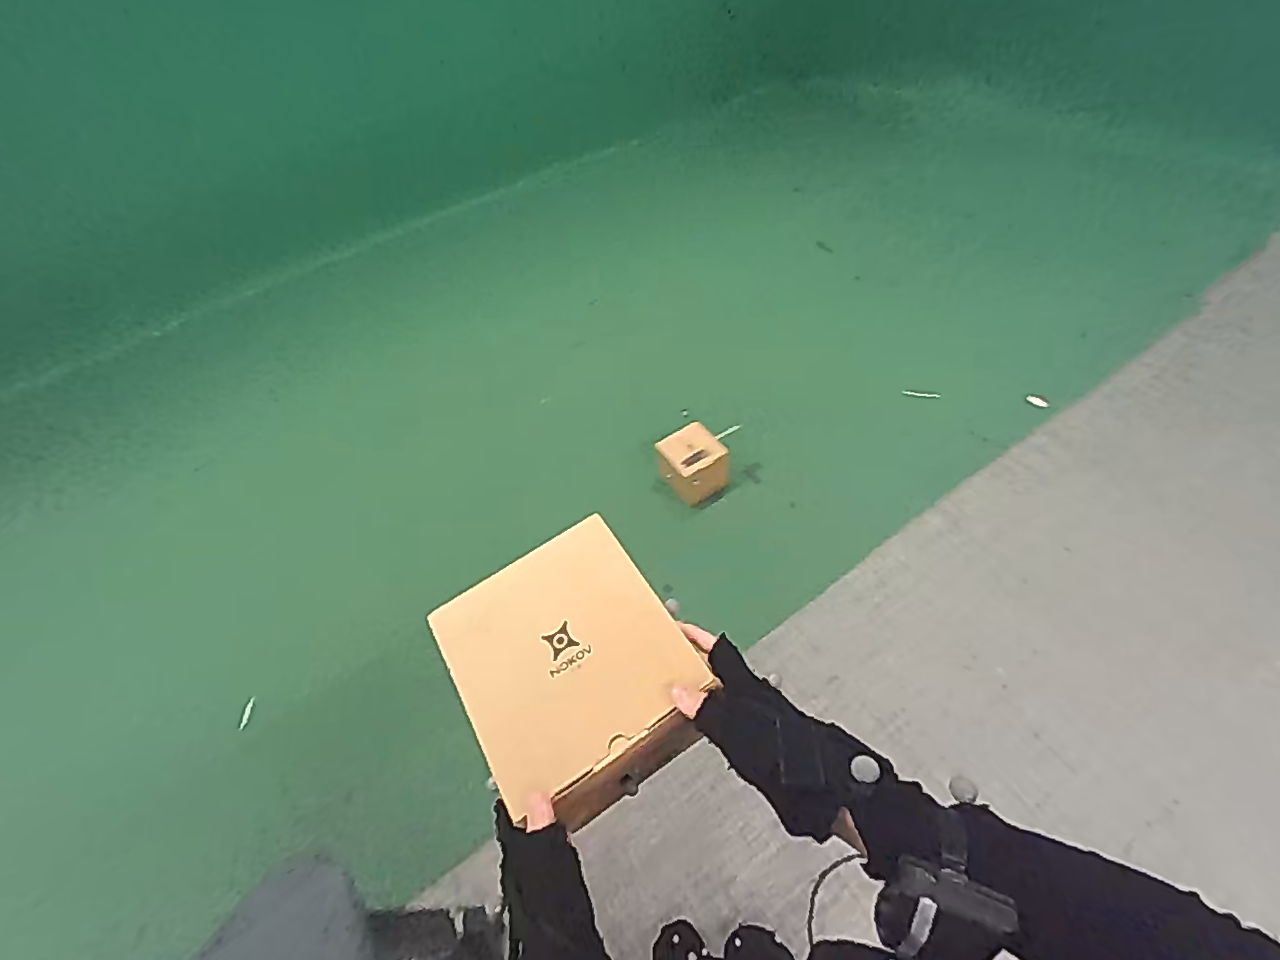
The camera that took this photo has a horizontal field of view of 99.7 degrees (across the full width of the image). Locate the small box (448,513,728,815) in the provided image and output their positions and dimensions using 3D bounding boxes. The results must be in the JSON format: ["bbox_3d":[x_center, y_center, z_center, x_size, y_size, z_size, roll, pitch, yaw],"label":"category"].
[{"bbox_3d":[-0.041,0.168,0.484,0.168,0.176,0.179,-29,58,-13],"label":"small box"}]
